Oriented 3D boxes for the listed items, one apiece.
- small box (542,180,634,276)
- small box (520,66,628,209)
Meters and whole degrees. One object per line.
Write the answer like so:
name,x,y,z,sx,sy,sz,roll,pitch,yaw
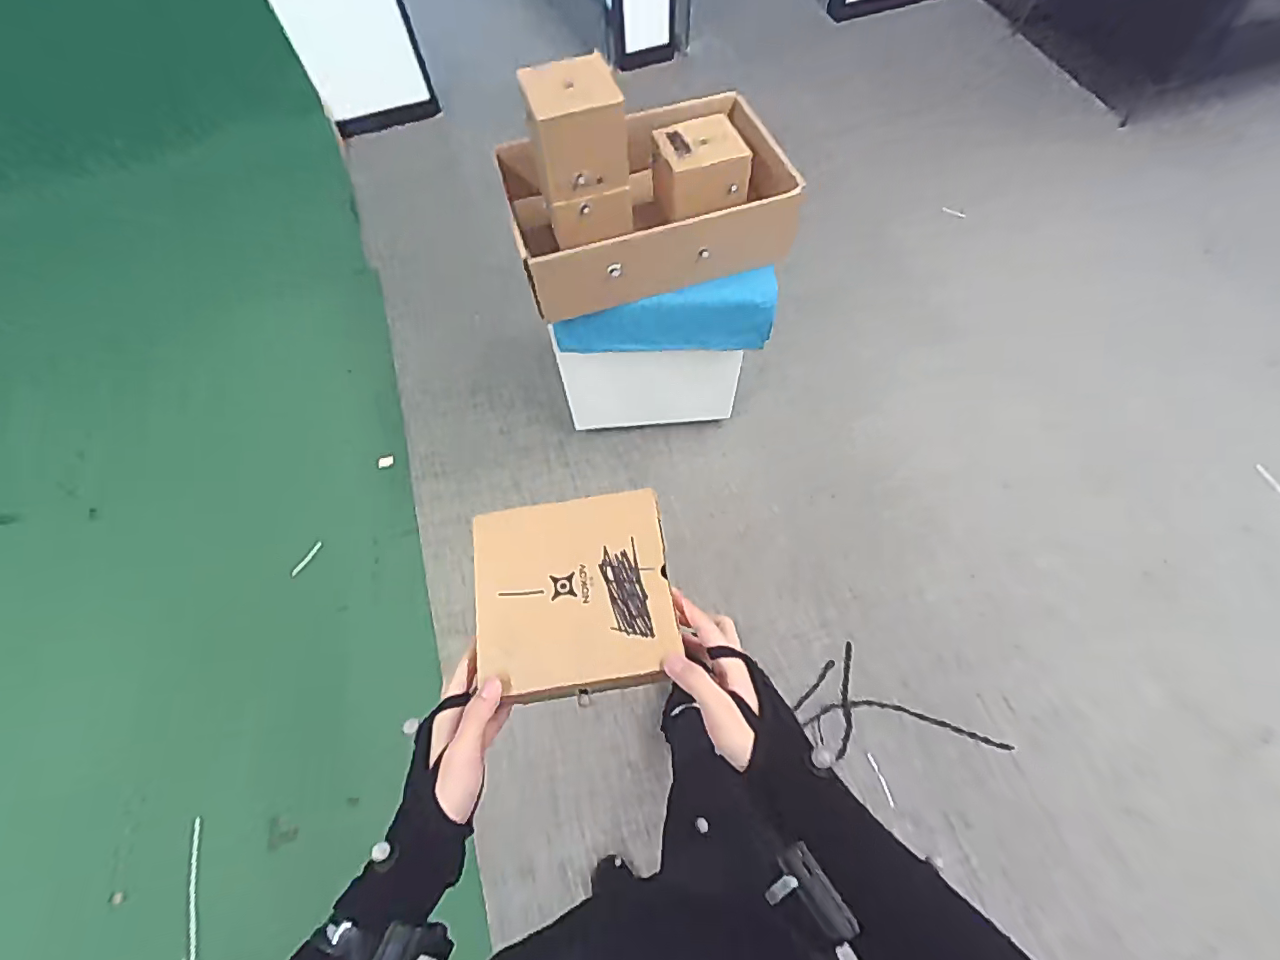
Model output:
small box,-0.117,-0.595,1.218,0.168,0.176,0.179,-17,62,-6
small box,-0.127,-0.677,1.077,0.168,0.176,0.179,-17,62,-6
